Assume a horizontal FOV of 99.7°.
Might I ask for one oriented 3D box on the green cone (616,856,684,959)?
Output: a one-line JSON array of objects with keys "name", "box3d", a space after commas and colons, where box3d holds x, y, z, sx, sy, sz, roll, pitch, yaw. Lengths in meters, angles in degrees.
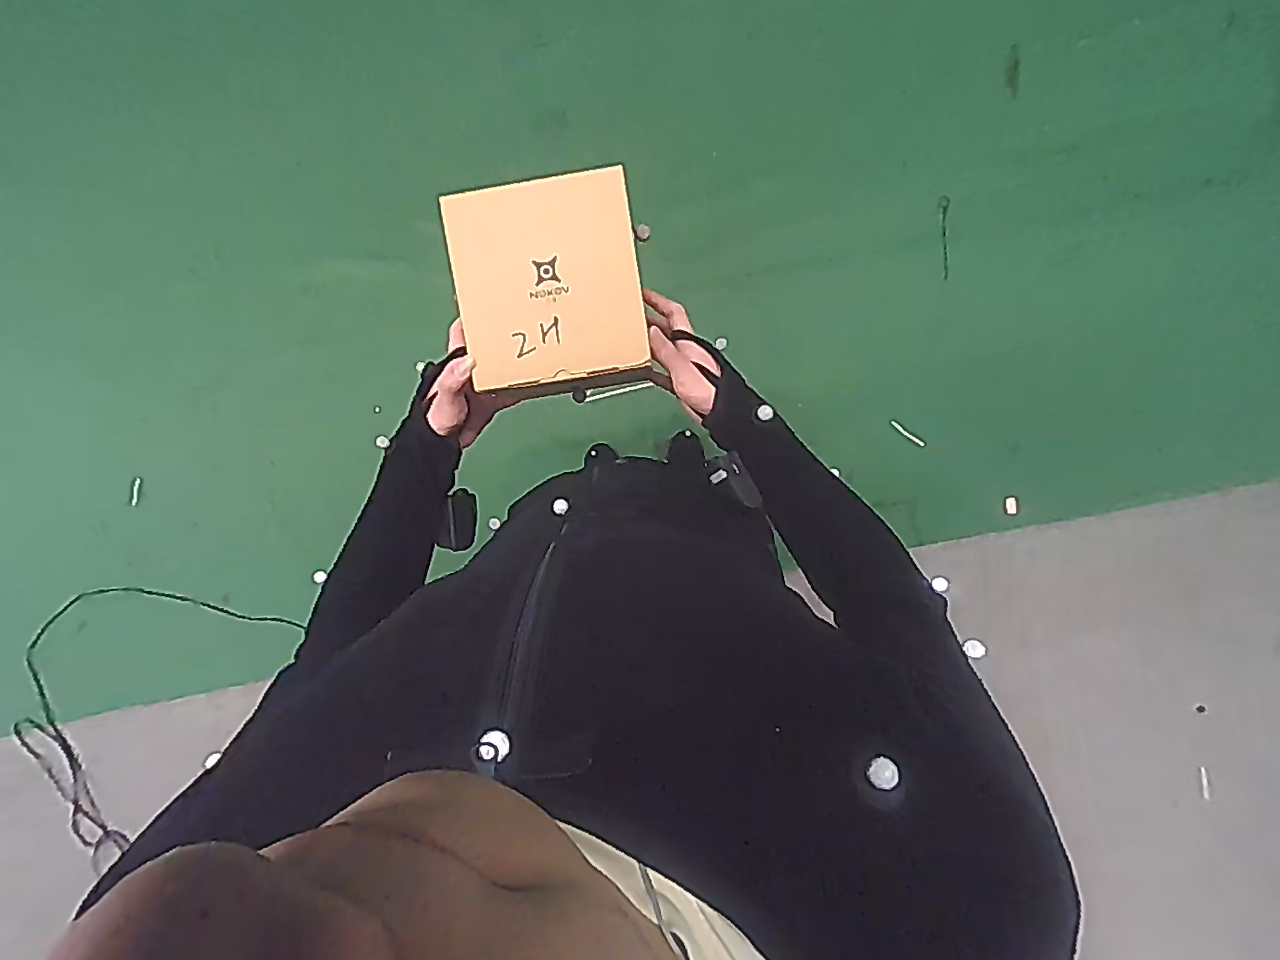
[{"name": "green cone", "box3d": [0.023, 1.336, 1.583, 0.202, 0.368, 0.200, -11, 94, 4]}]
